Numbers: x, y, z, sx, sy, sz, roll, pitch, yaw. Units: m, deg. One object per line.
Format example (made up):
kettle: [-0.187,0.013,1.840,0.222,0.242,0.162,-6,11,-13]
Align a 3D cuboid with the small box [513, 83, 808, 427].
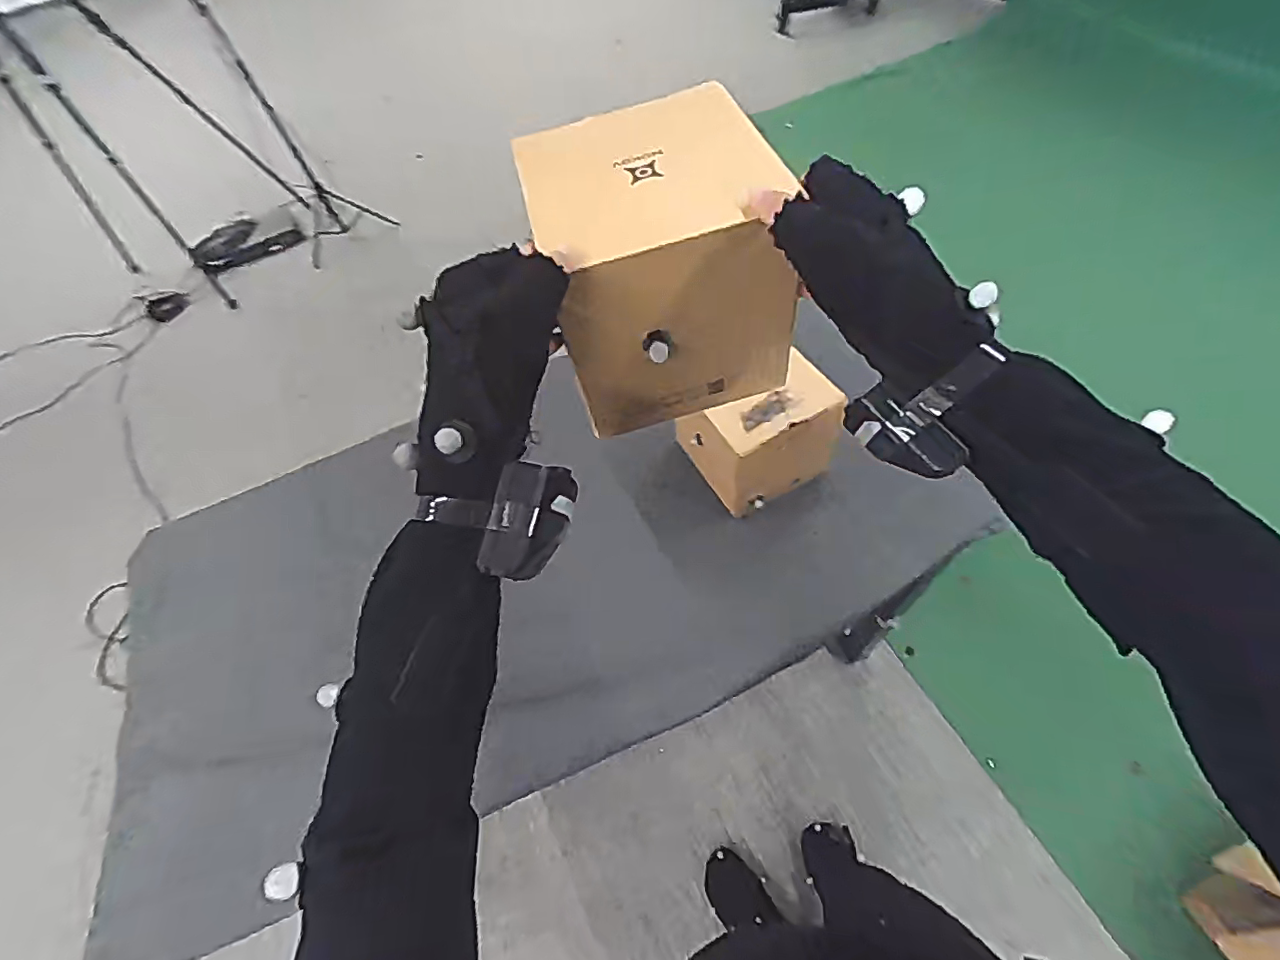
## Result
small box: [0.015,-0.162,0.424,0.168,0.176,0.179,-17,56,0]

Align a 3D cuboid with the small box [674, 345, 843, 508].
small box: [0.159,-0.081,0.778,0.168,0.176,0.179,-27,57,-9]
